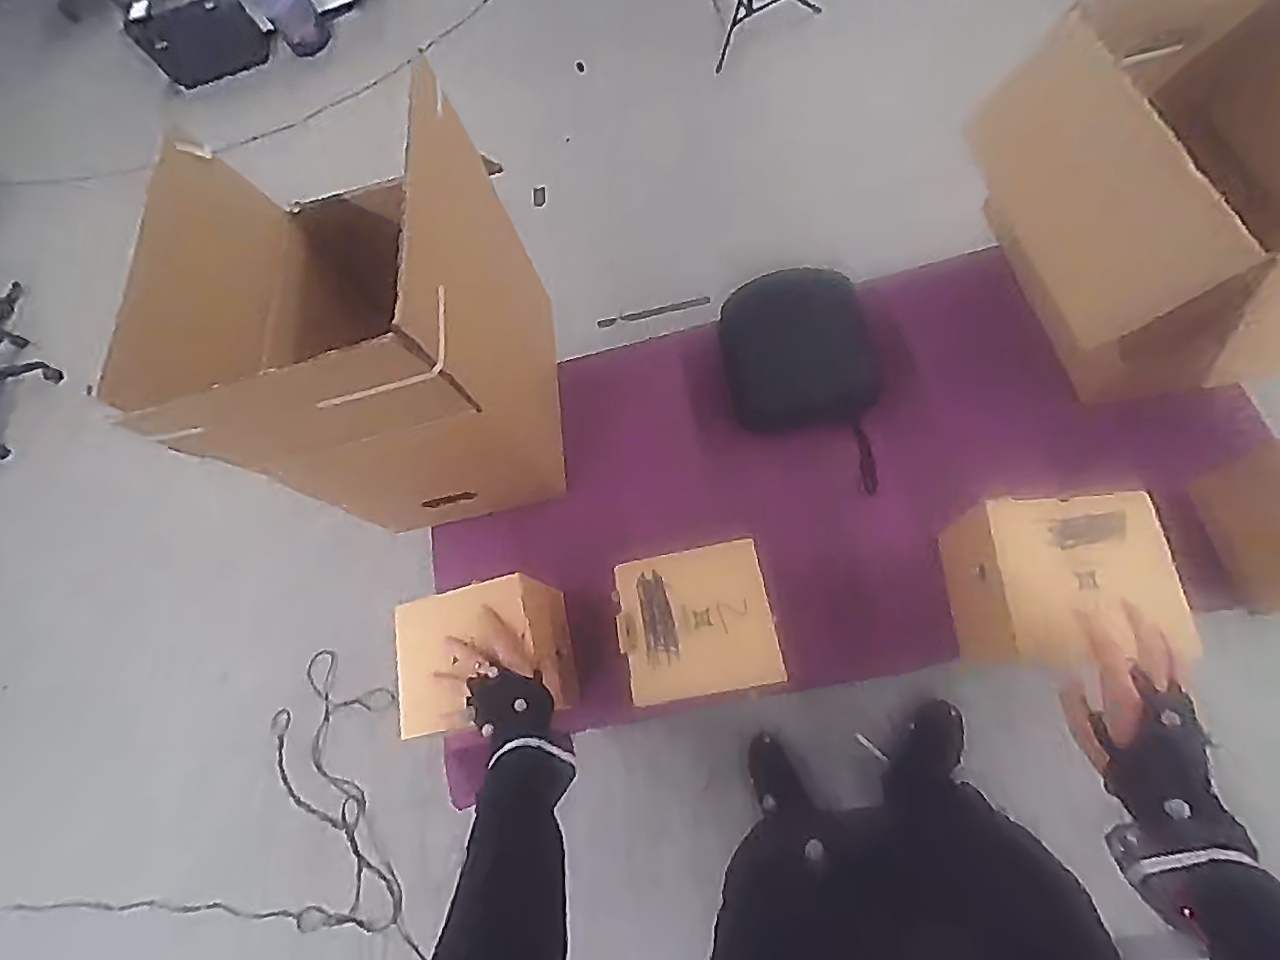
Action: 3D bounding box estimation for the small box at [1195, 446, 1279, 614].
[{"bbox_3d":[0.799,0.045,0.605,0.168,0.176,0.179,-9,68,10],"label":"small box"}]

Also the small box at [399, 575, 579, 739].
[{"bbox_3d":[-0.200,0.245,0.739,0.179,0.176,0.168,-16,67,4],"label":"small box"}]
